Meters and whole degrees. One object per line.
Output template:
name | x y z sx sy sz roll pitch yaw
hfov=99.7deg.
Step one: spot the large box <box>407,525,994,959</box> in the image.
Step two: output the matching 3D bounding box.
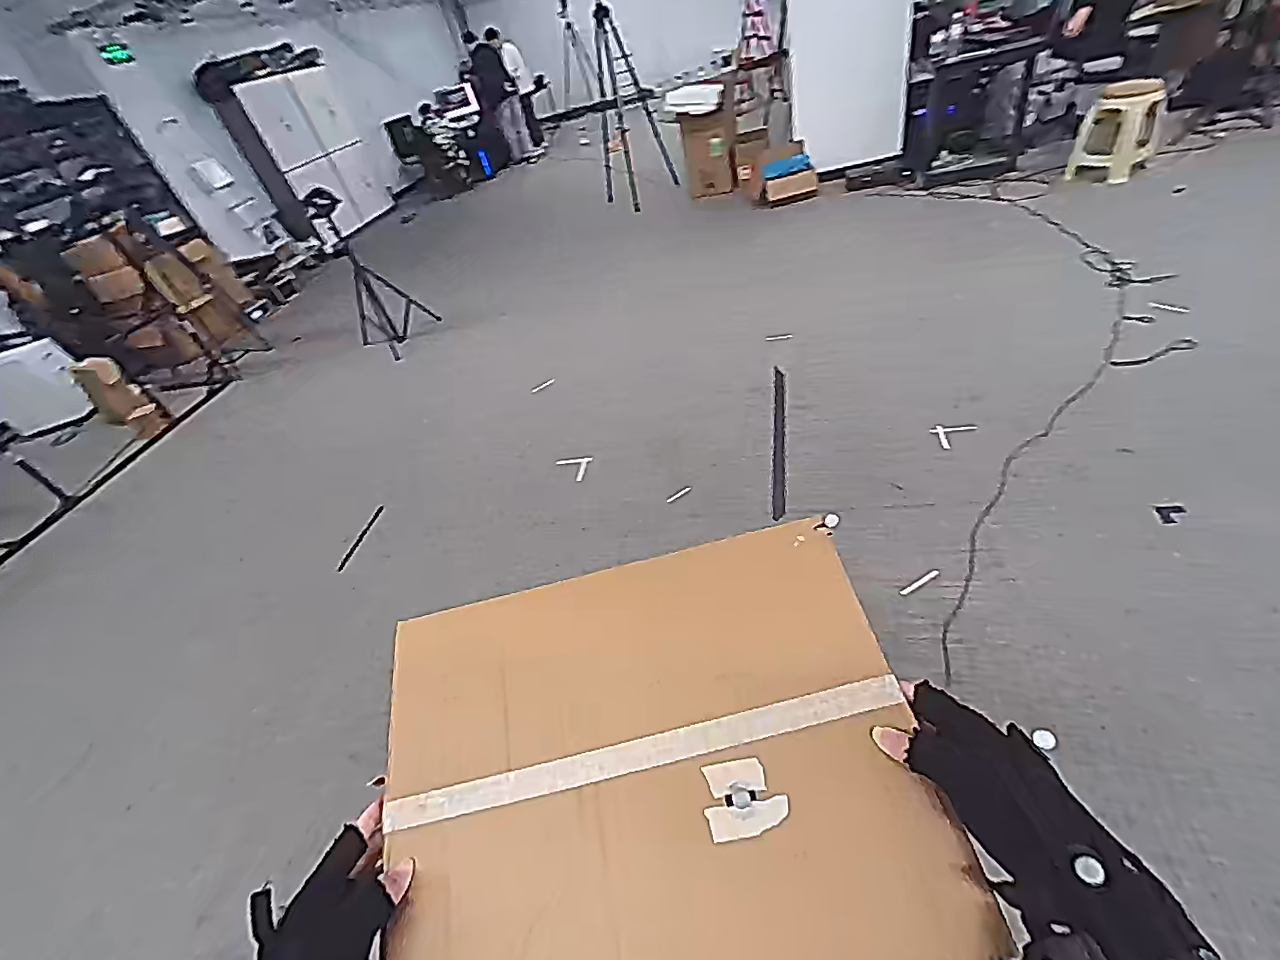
large box | 0.031 0.295 0.553 0.408 0.320 0.320 -14 57 2
